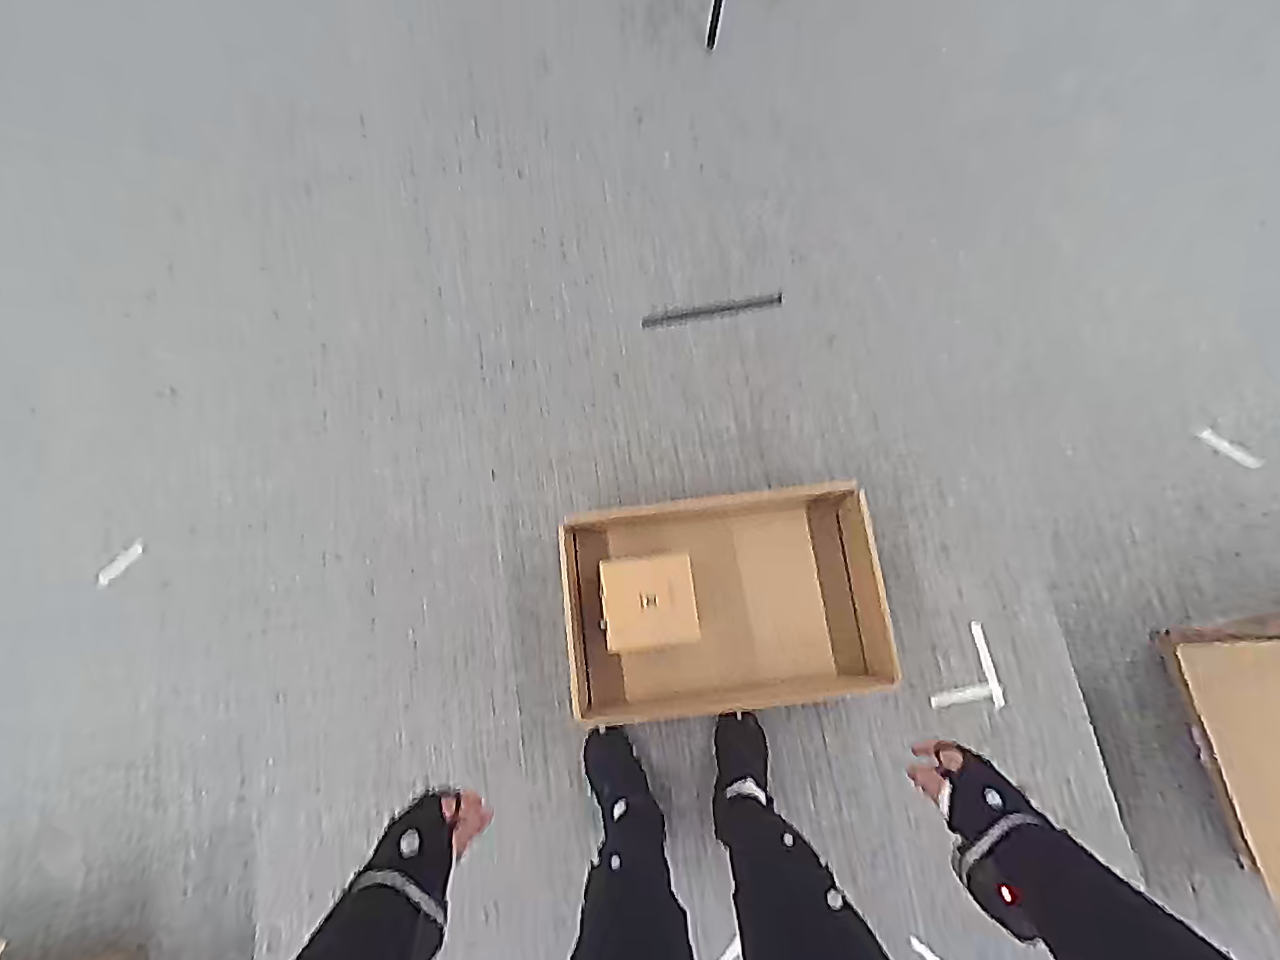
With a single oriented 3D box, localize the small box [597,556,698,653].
[{"bbox_3d":[0.014,0.251,1.102,0.179,0.176,0.168,-7,79,-2],"label":"small box"}]
